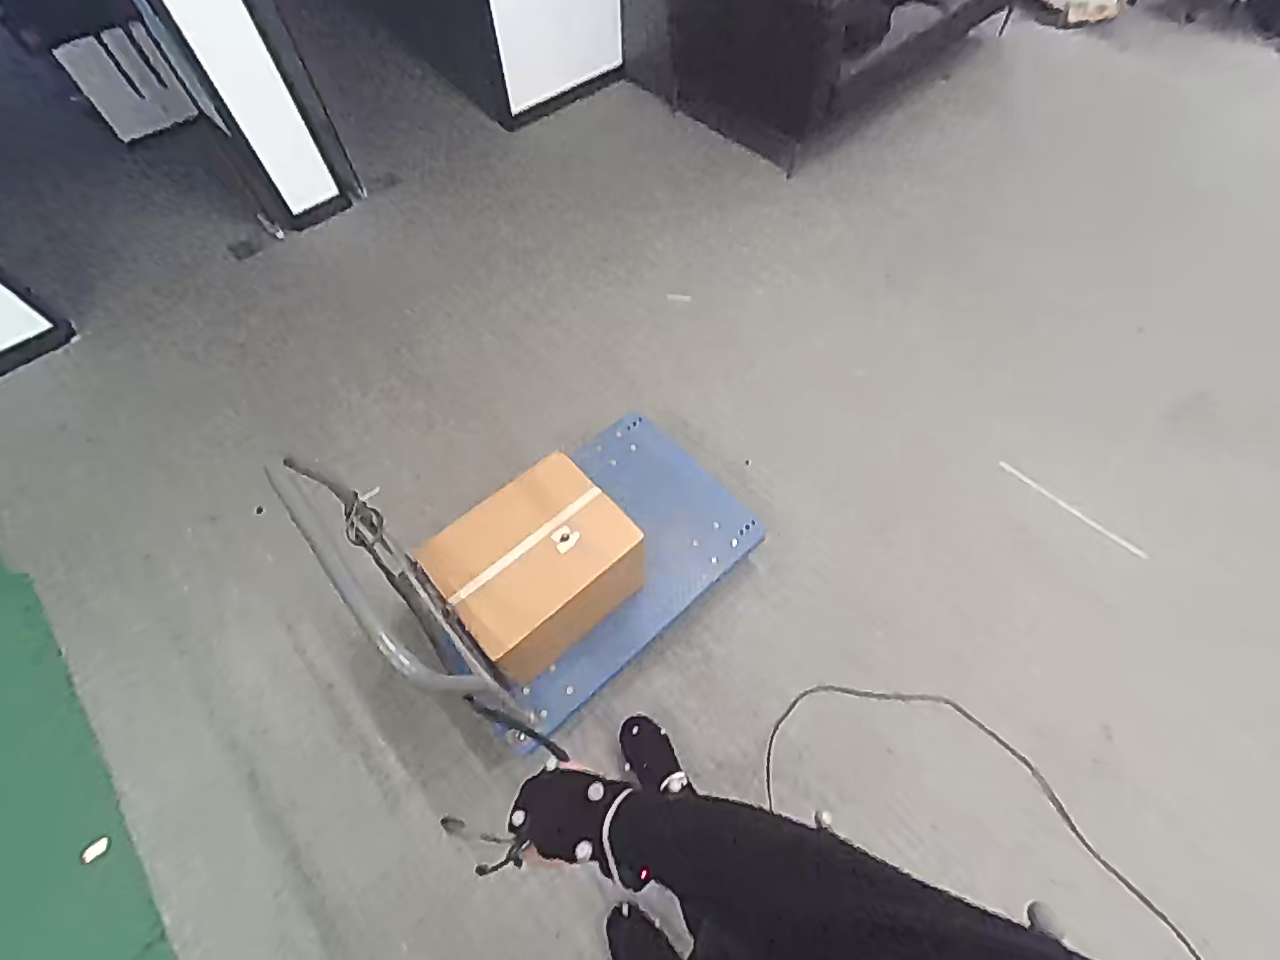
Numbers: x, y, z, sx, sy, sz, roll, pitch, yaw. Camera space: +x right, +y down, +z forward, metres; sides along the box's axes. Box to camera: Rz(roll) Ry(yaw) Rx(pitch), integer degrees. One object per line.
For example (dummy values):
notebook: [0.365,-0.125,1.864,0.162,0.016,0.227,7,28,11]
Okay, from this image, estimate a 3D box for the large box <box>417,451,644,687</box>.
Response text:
large box: [-0.235,0.217,1.295,0.408,0.320,0.320,-38,67,-20]
